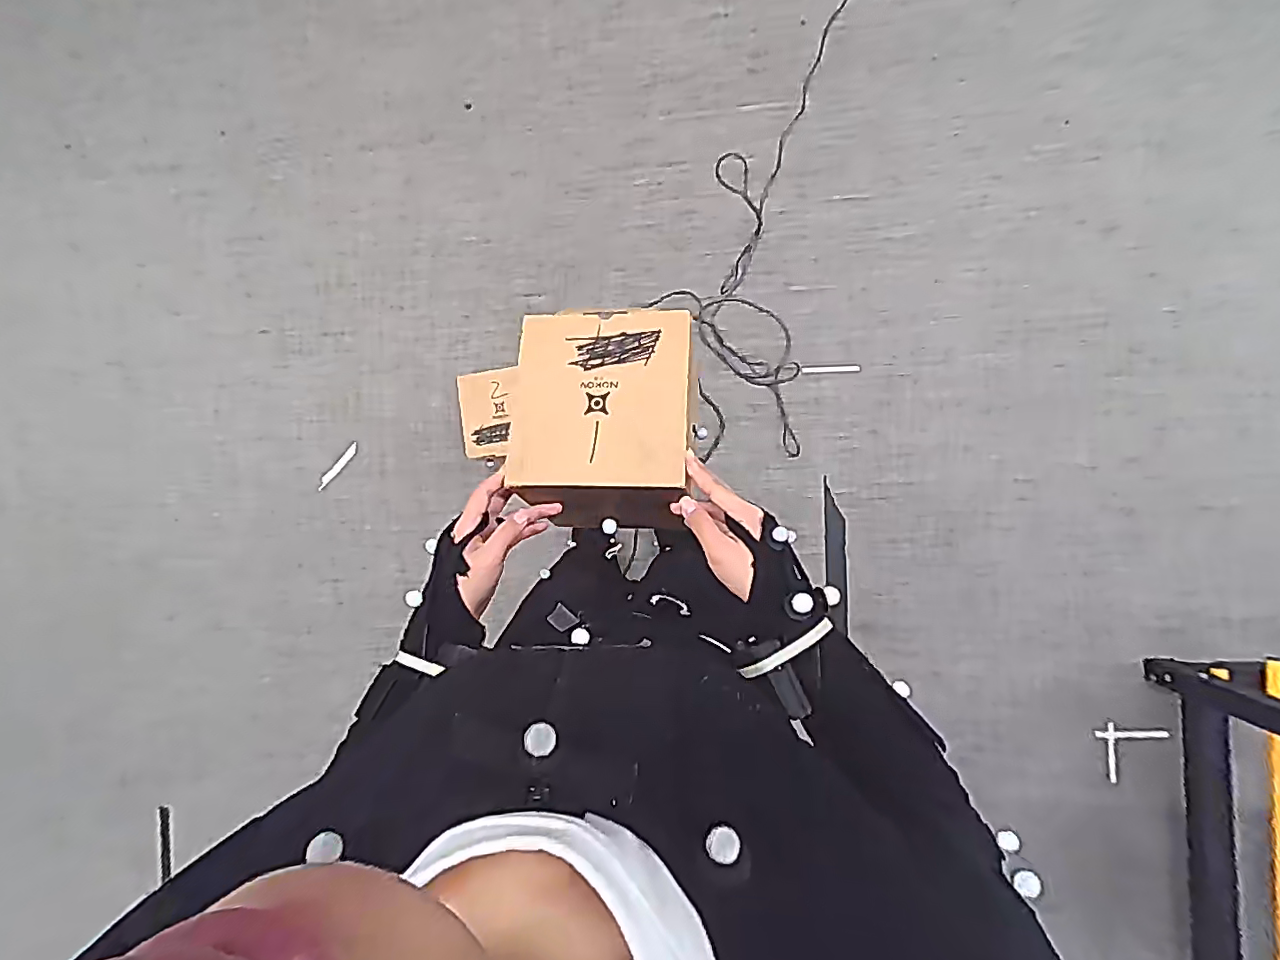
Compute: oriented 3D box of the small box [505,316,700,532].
[{"bbox_3d":[-0.024,-0.051,0.572,0.168,0.176,0.179,1,73,9],"label":"small box"}]
